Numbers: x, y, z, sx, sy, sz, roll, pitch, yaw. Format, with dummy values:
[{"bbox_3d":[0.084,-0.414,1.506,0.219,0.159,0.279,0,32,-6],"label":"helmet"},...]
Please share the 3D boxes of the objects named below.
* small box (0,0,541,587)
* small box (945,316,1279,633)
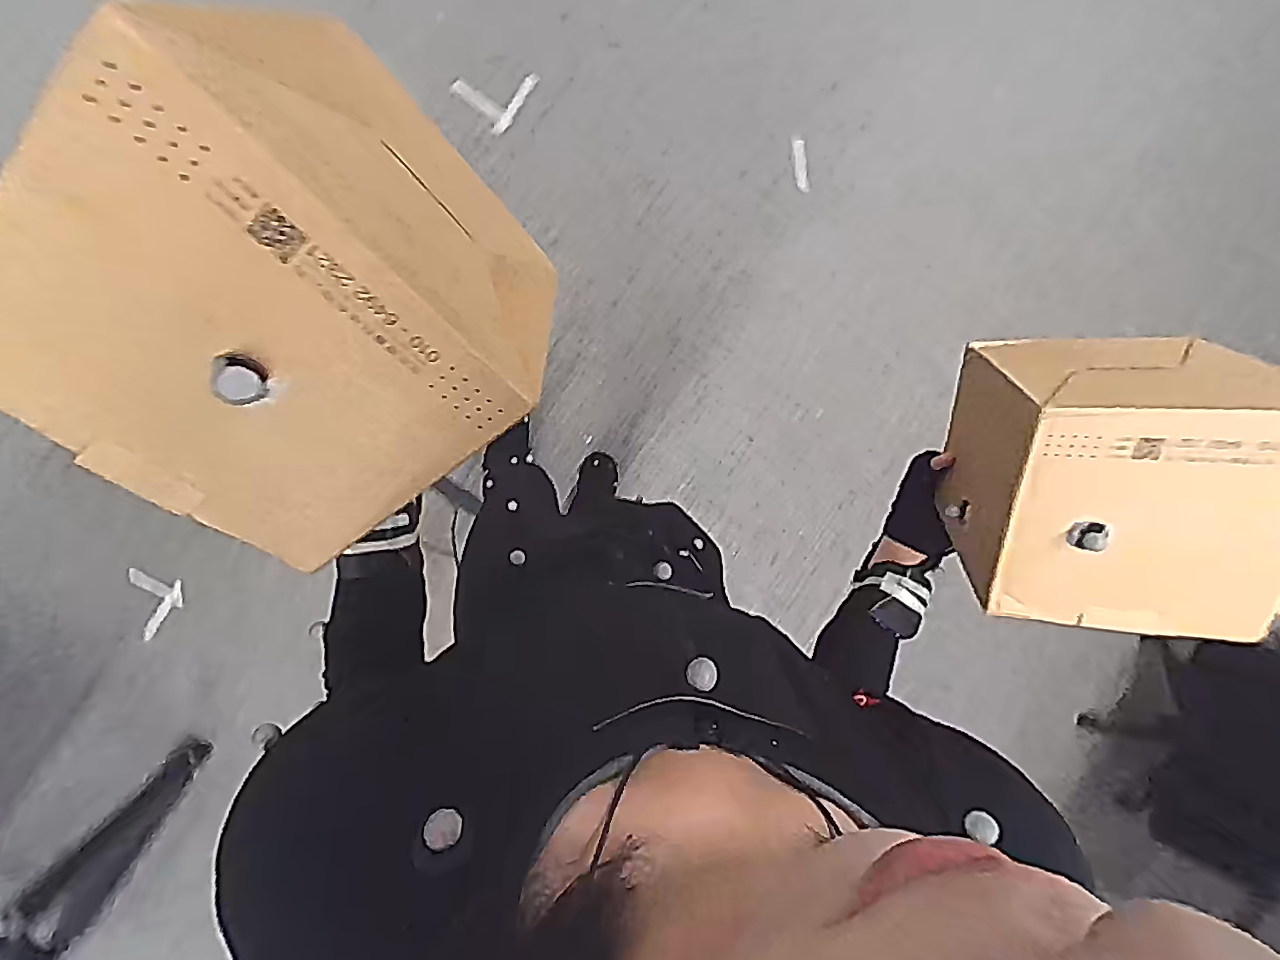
[{"bbox_3d":[-0.165,-0.087,0.264,0.176,0.179,0.168,-33,125,20],"label":"small box"},{"bbox_3d":[0.349,-0.015,0.401,0.168,0.179,0.176,2,119,14],"label":"small box"}]
